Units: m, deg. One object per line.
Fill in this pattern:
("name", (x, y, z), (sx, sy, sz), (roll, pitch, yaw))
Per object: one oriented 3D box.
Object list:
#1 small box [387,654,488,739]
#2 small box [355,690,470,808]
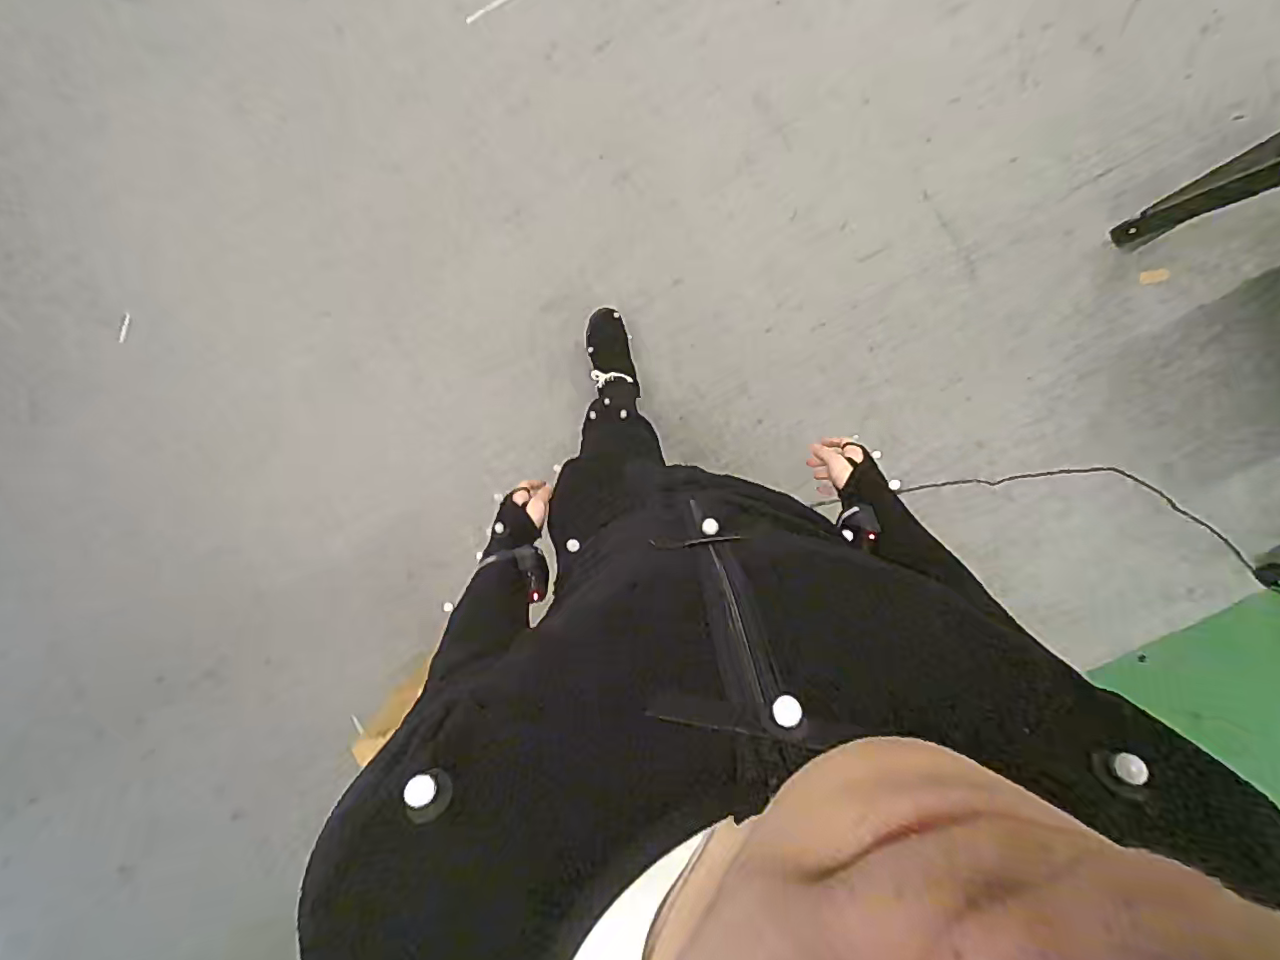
("small box", (-0.536, 0.605, 1.461), (0.168, 0.176, 0.179), (-24, 95, 4))
("small box", (-0.536, 0.632, 1.299), (0.168, 0.176, 0.179), (-21, 96, 4))
